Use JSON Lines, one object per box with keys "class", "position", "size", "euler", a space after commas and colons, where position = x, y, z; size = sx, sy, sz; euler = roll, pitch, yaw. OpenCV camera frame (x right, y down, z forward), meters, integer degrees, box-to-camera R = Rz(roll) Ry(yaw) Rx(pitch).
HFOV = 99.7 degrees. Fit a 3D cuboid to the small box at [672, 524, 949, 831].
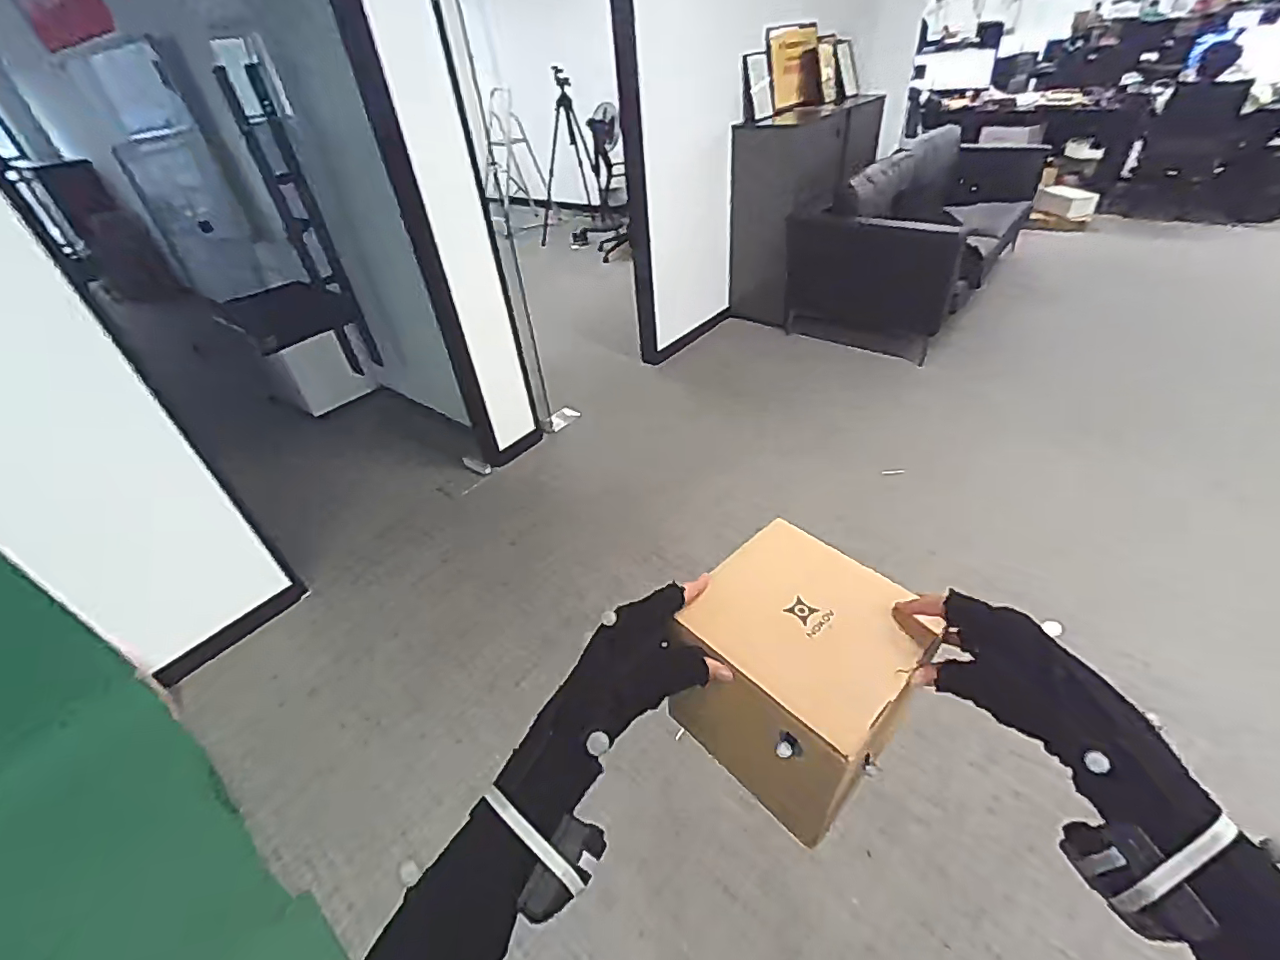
{"class": "small box", "position": [0.144, 0.179, 0.510], "size": [0.168, 0.176, 0.179], "euler": [-31, 46, -31]}
